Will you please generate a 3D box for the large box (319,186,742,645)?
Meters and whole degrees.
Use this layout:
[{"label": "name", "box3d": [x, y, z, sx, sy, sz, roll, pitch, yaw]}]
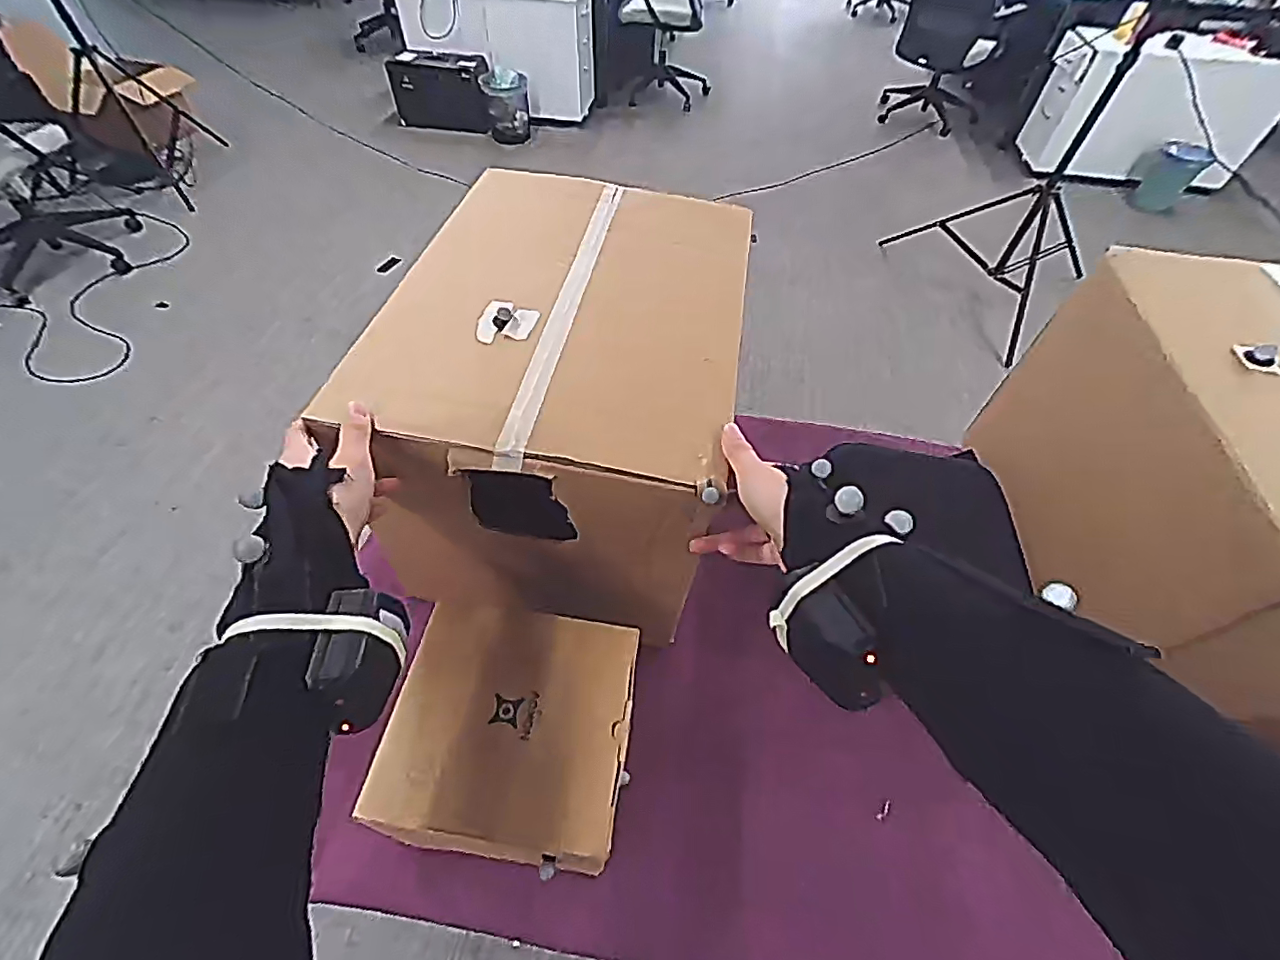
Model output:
[{"label": "large box", "box3d": [-0.074, -0.072, 0.631, 0.320, 0.320, 0.408, 9, 55, 3]}]
